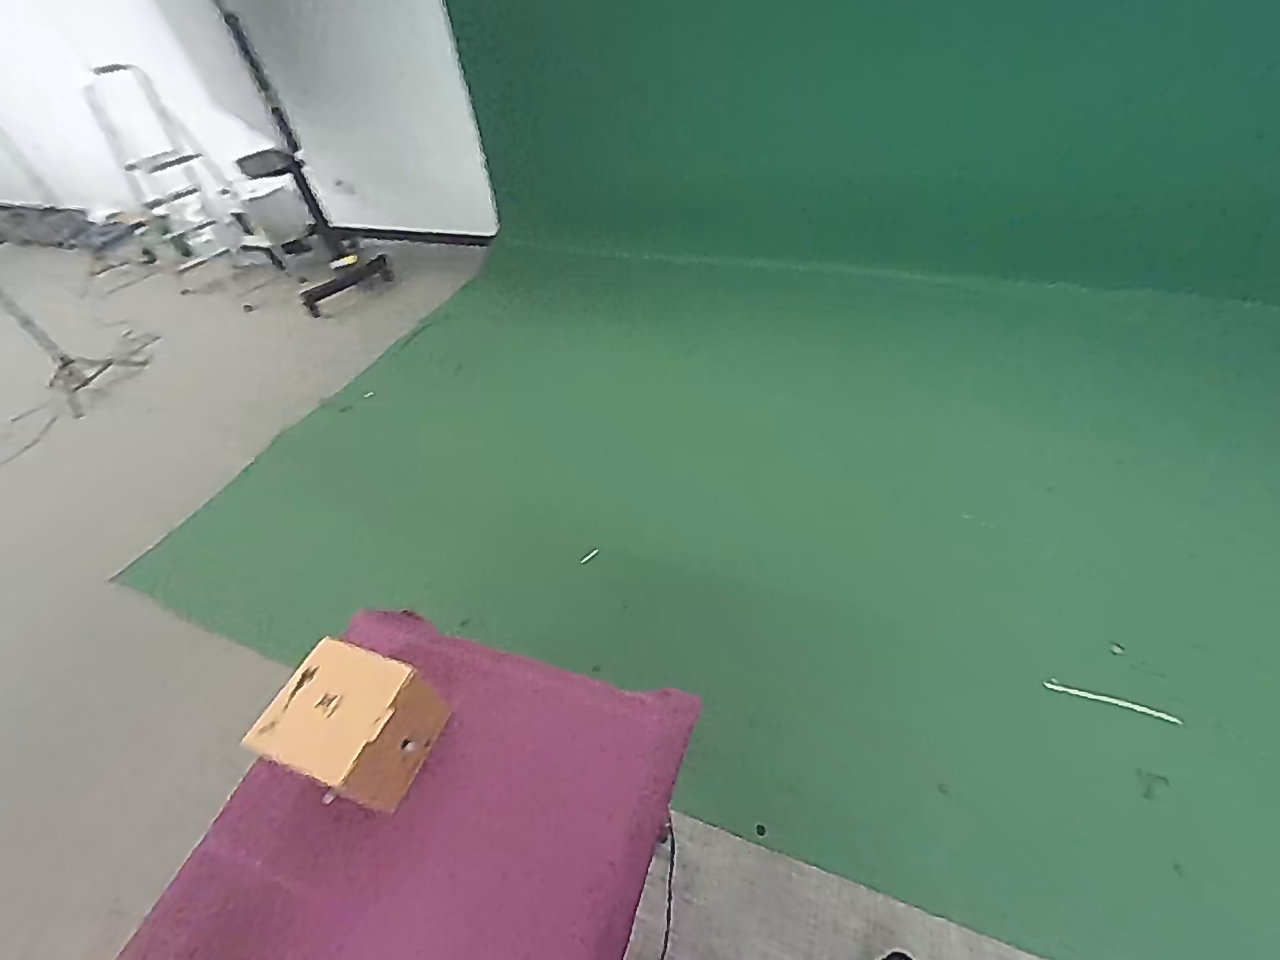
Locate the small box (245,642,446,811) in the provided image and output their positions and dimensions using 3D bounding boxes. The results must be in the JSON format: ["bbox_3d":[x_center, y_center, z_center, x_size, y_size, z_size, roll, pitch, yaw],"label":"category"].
[{"bbox_3d":[-0.429,0.378,0.824,0.179,0.176,0.168,11,49,16],"label":"small box"}]
